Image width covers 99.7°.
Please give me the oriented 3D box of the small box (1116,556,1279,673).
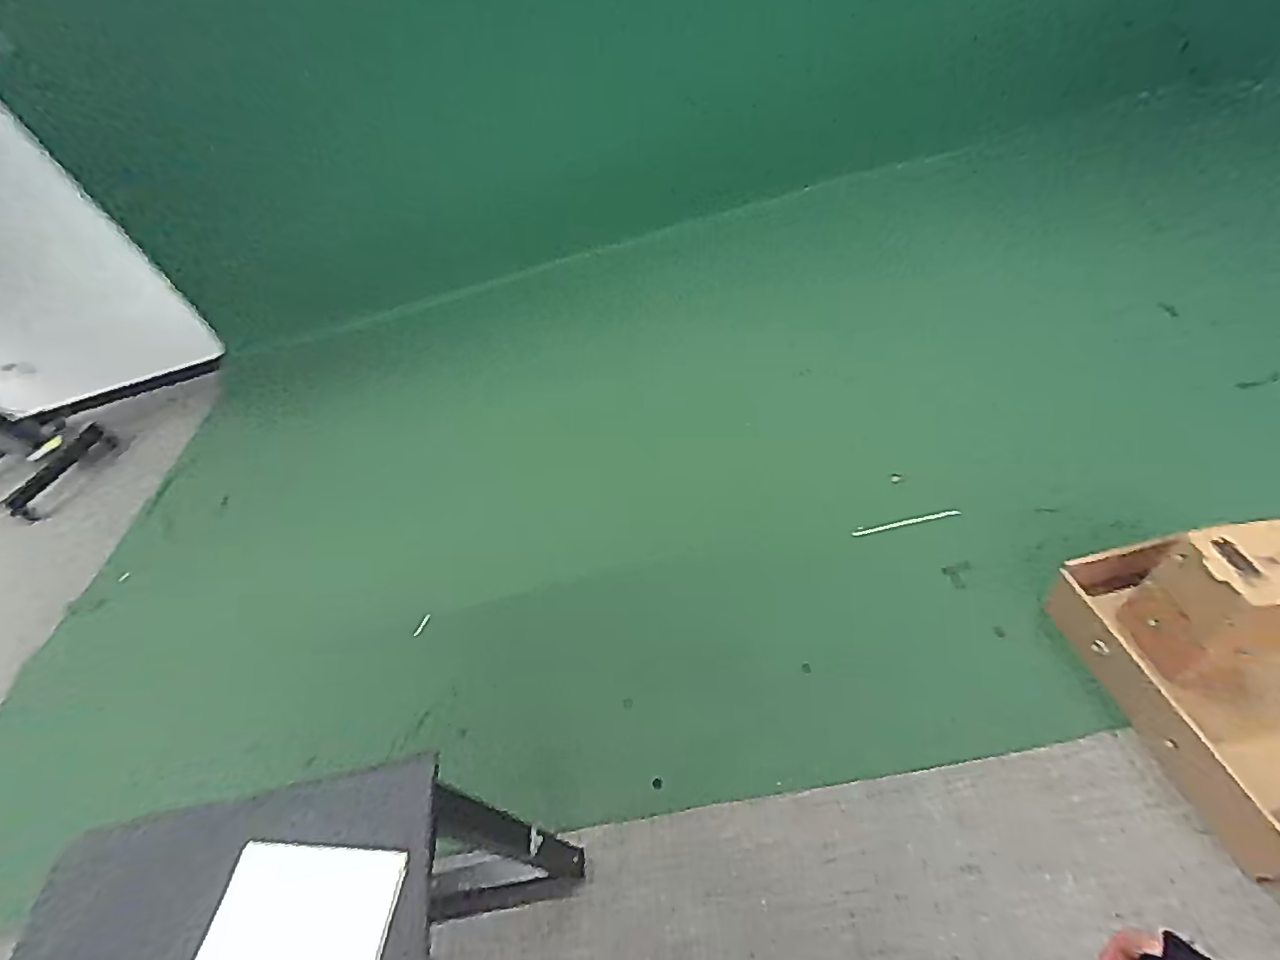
[{"bbox_3d":[1.218,0.298,1.192,0.168,0.176,0.179,-14,47,4],"label":"small box"}]
